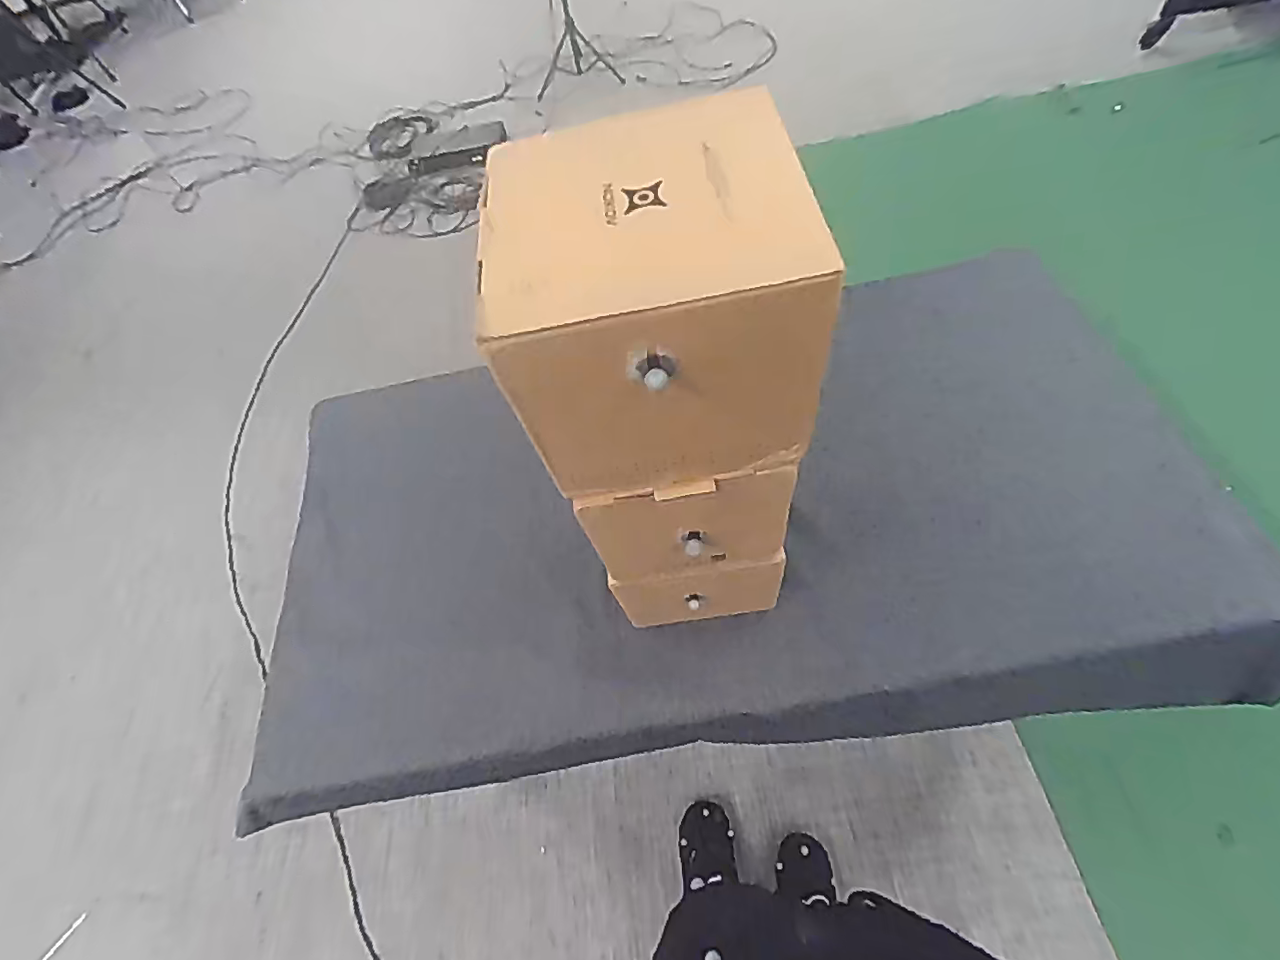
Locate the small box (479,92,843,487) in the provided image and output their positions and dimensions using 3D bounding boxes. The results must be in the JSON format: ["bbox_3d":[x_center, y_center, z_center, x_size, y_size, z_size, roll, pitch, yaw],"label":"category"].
[{"bbox_3d":[0.013,-0.109,0.358,0.179,0.176,0.168,-9,61,4],"label":"small box"}]

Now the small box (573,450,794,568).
[{"bbox_3d":[0.035,-0.029,0.498,0.168,0.176,0.179,-10,60,4],"label":"small box"}]

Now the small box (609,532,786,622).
[{"bbox_3d":[0.060,0.058,0.634,0.179,0.176,0.168,-10,60,5],"label":"small box"}]
